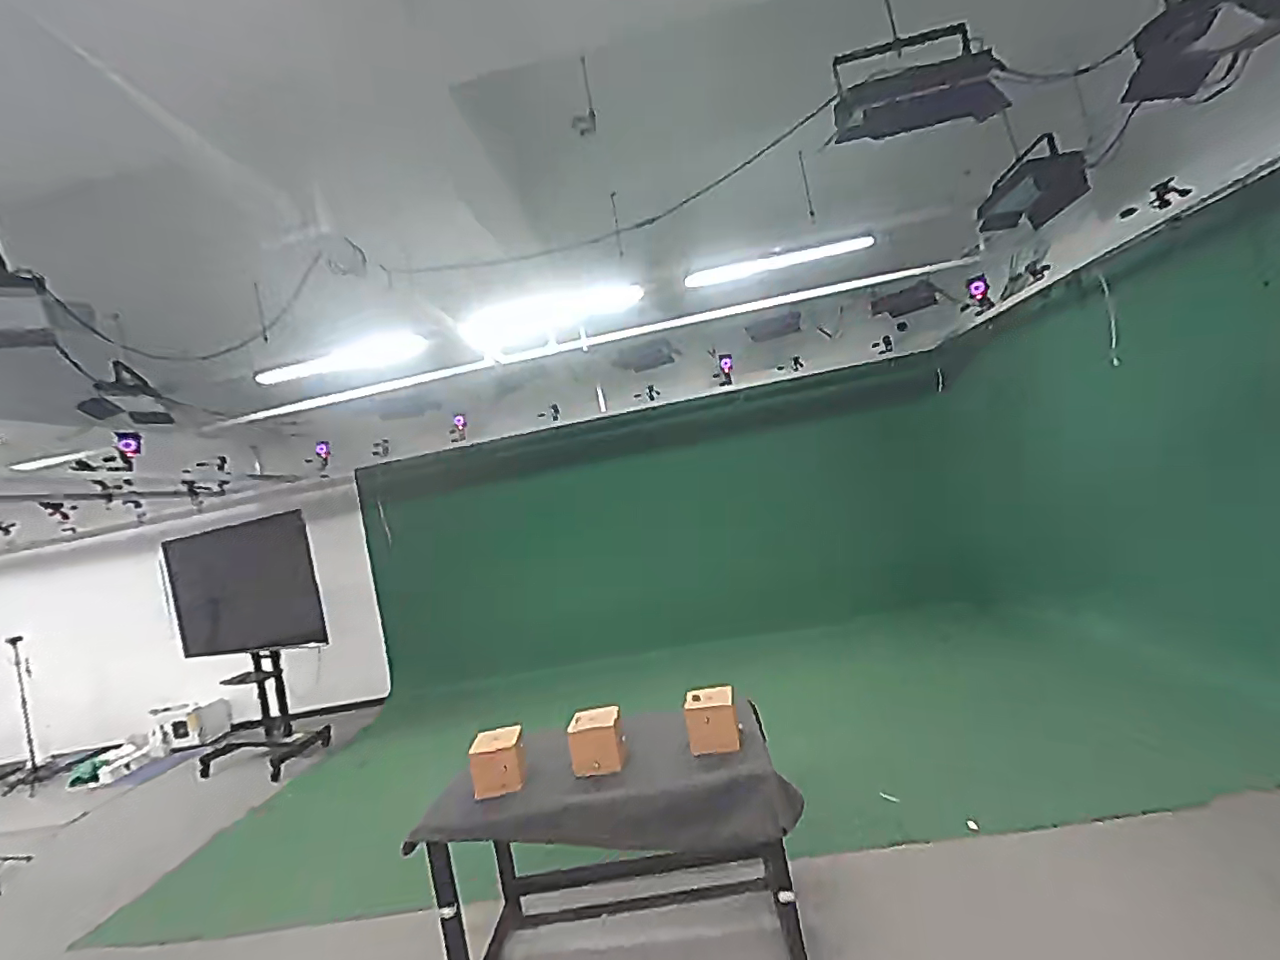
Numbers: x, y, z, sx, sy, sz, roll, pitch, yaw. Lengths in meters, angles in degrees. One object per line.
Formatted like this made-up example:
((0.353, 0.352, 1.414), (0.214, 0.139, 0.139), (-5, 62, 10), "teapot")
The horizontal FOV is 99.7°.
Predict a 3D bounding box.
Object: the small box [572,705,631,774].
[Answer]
((-0.138, 0.968, 2.016), (0.179, 0.176, 0.168), (-11, -1, 6), "small box")

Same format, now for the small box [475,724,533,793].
((-0.501, 1.040, 2.010), (0.168, 0.176, 0.179), (-9, -4, -4), "small box")

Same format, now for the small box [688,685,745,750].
((0.284, 0.881, 2.001), (0.179, 0.176, 0.168), (-11, -1, 11), "small box")
